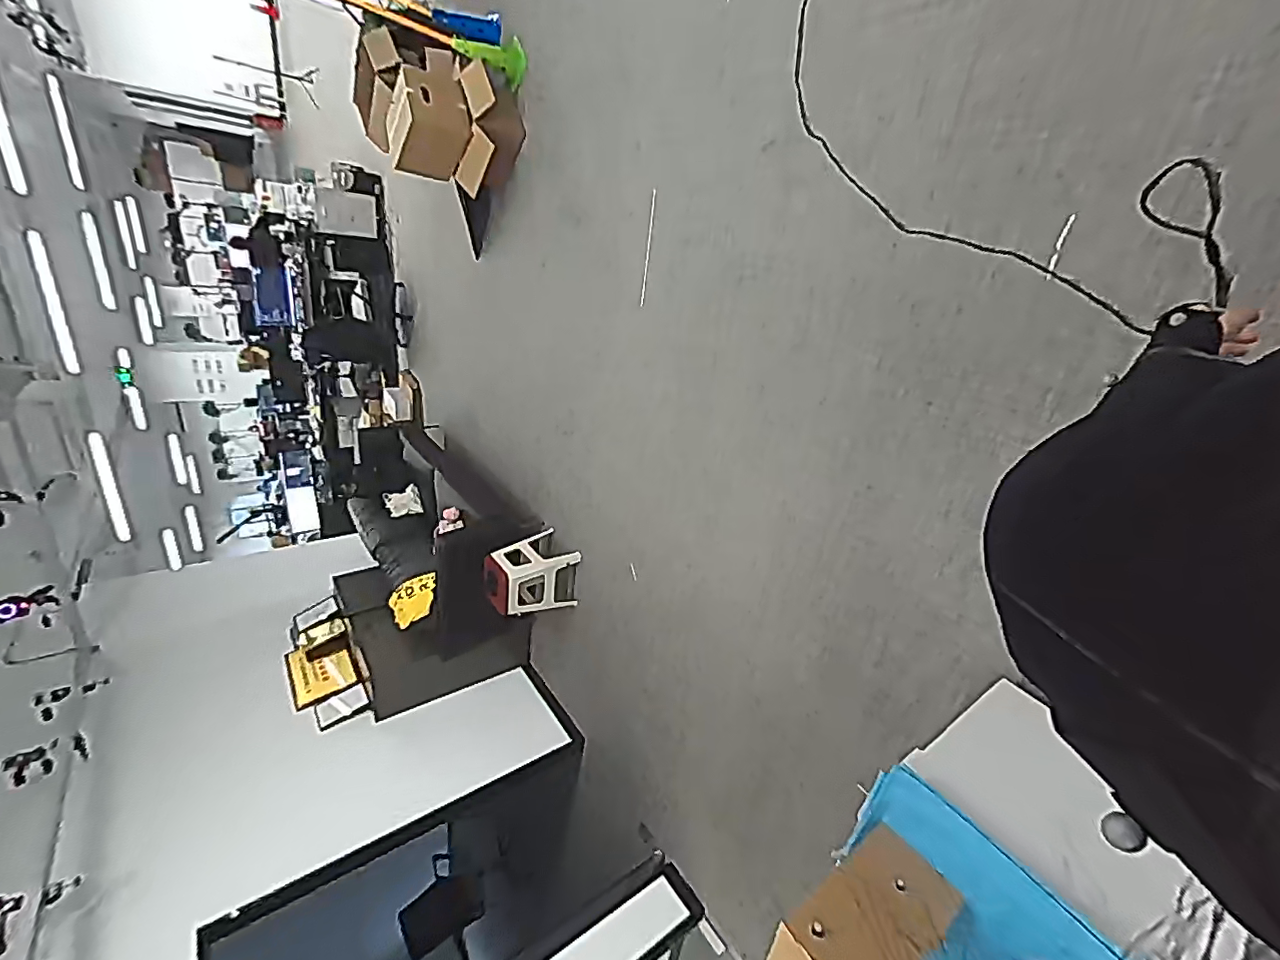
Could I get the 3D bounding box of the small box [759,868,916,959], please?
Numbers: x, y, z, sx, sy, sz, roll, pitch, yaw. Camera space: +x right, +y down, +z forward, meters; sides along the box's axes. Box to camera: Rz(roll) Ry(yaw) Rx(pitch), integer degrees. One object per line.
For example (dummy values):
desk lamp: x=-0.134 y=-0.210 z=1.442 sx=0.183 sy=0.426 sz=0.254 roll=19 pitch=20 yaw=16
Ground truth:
small box: x=0.345 y=0.835 z=0.955 sx=0.179 sy=0.176 sz=0.168 roll=32 pitch=125 yaw=44
